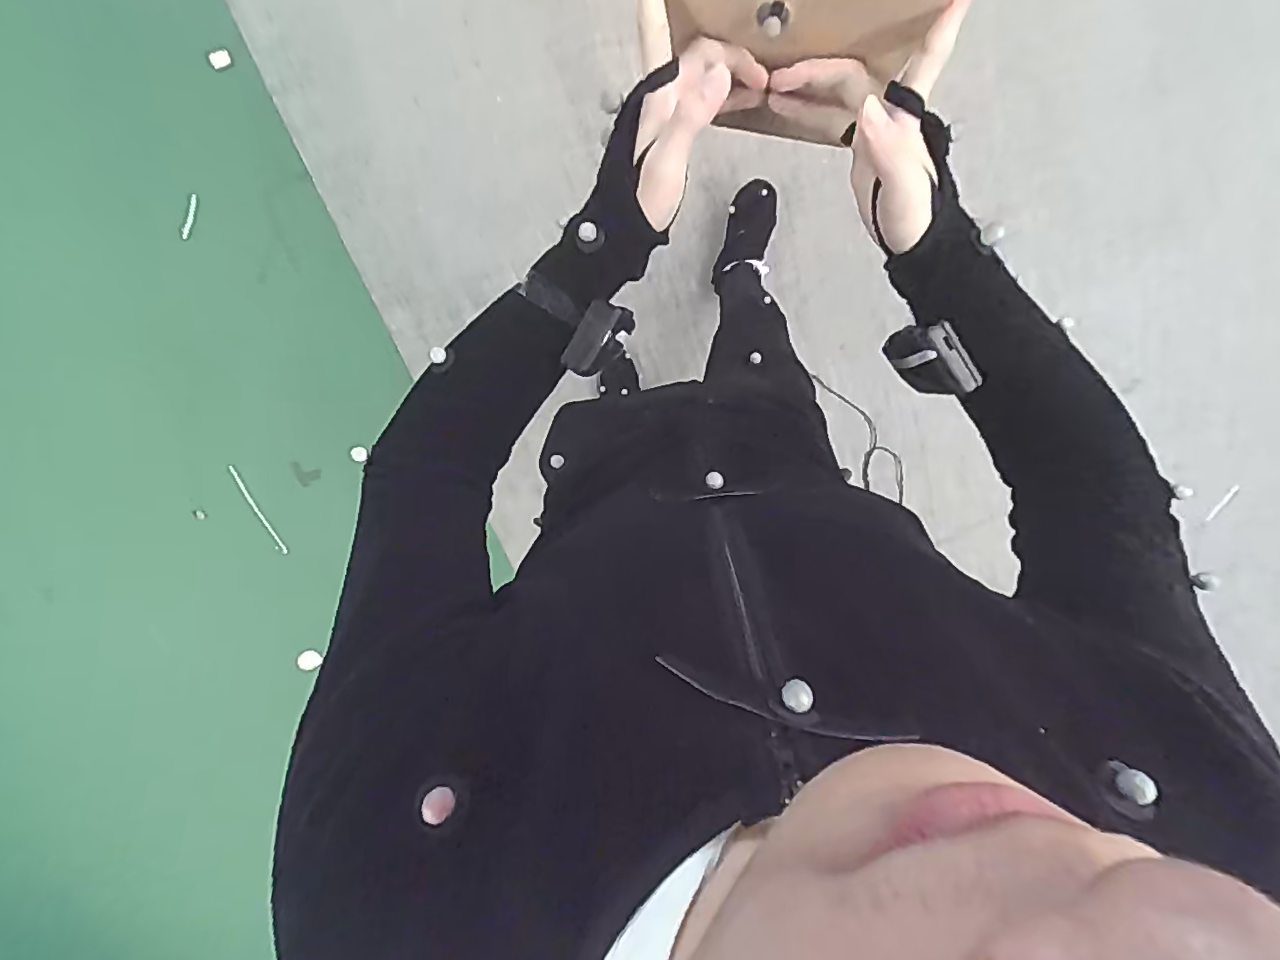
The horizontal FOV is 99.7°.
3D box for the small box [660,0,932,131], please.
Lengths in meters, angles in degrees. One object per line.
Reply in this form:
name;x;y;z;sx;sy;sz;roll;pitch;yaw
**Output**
small box;0.113;-0.382;0.377;0.179;0.176;0.168;10;92;-1
